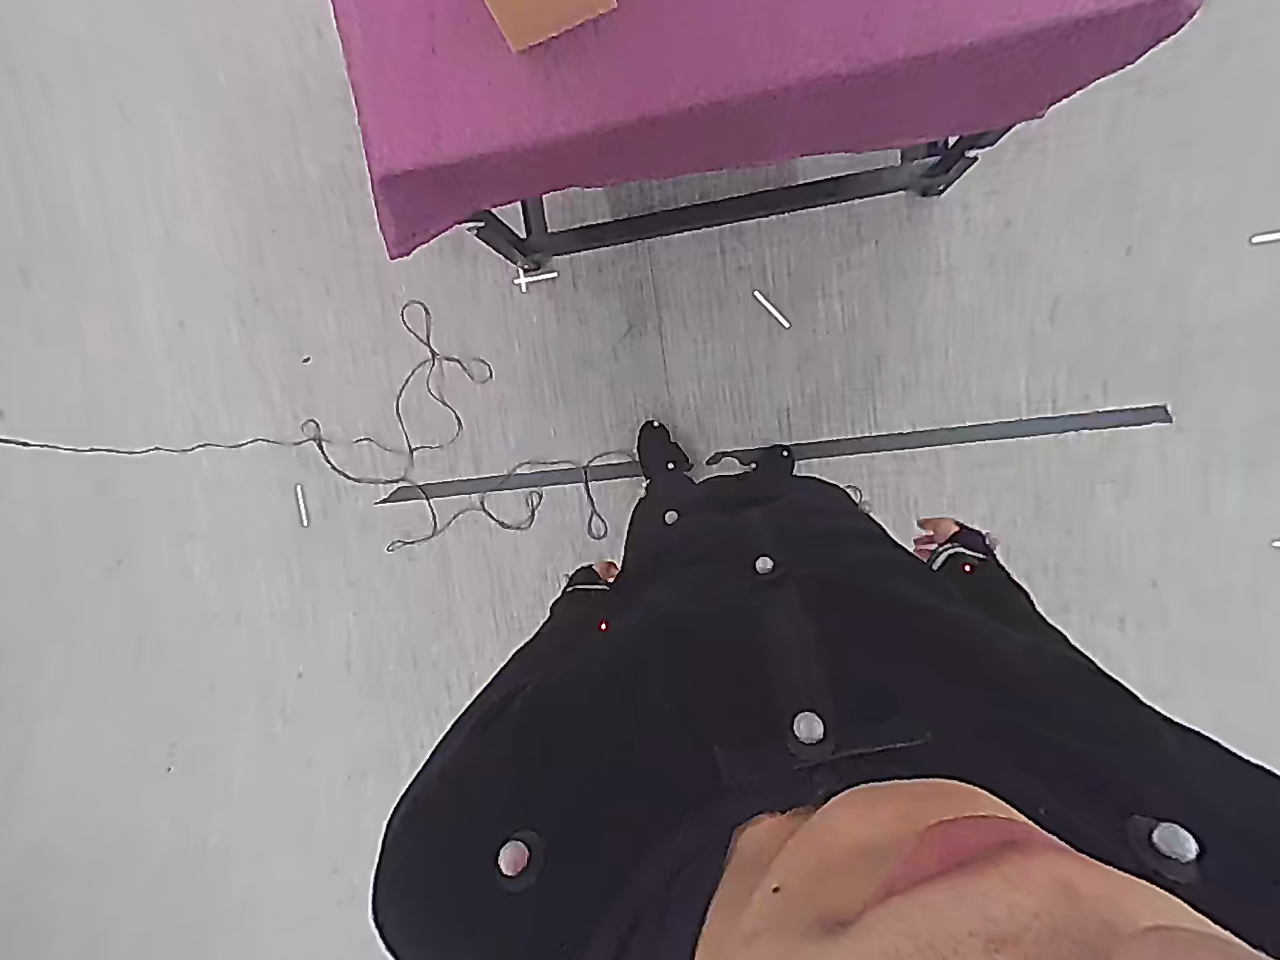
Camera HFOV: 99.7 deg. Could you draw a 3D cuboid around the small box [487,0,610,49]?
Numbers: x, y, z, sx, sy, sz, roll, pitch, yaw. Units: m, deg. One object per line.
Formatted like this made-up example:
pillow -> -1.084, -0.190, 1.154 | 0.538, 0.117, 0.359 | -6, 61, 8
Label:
small box -> -0.152, -0.758, 0.750 | 0.179, 0.176, 0.168 | -17, 95, 8
